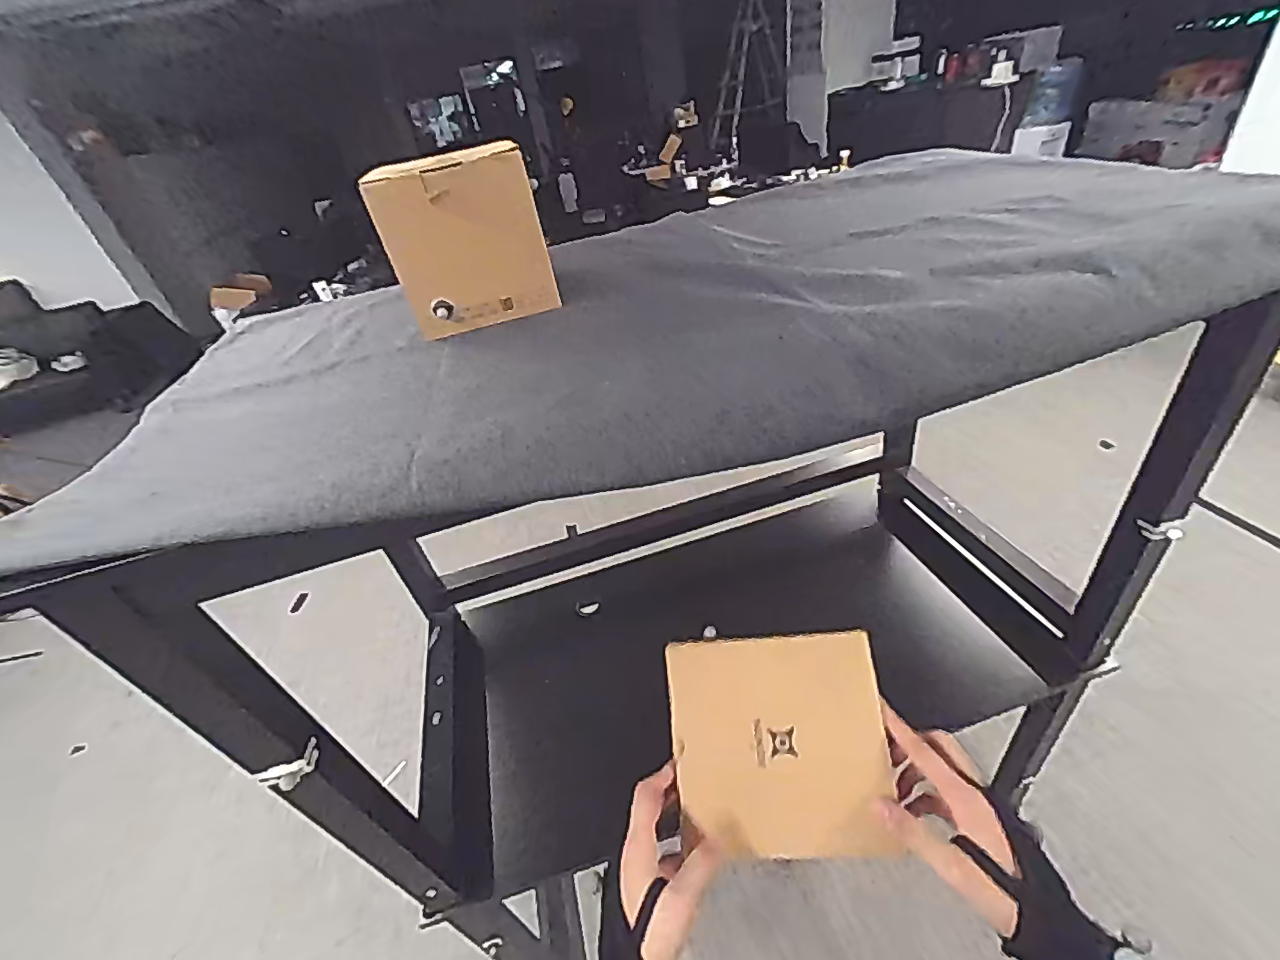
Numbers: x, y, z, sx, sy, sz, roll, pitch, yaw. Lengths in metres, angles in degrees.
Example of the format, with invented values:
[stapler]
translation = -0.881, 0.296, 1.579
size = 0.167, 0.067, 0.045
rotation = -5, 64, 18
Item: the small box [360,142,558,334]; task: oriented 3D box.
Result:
[small box]
translation = -0.206, -0.291, 0.654
size = 0.168, 0.176, 0.179
rotation = -17, 36, -6
